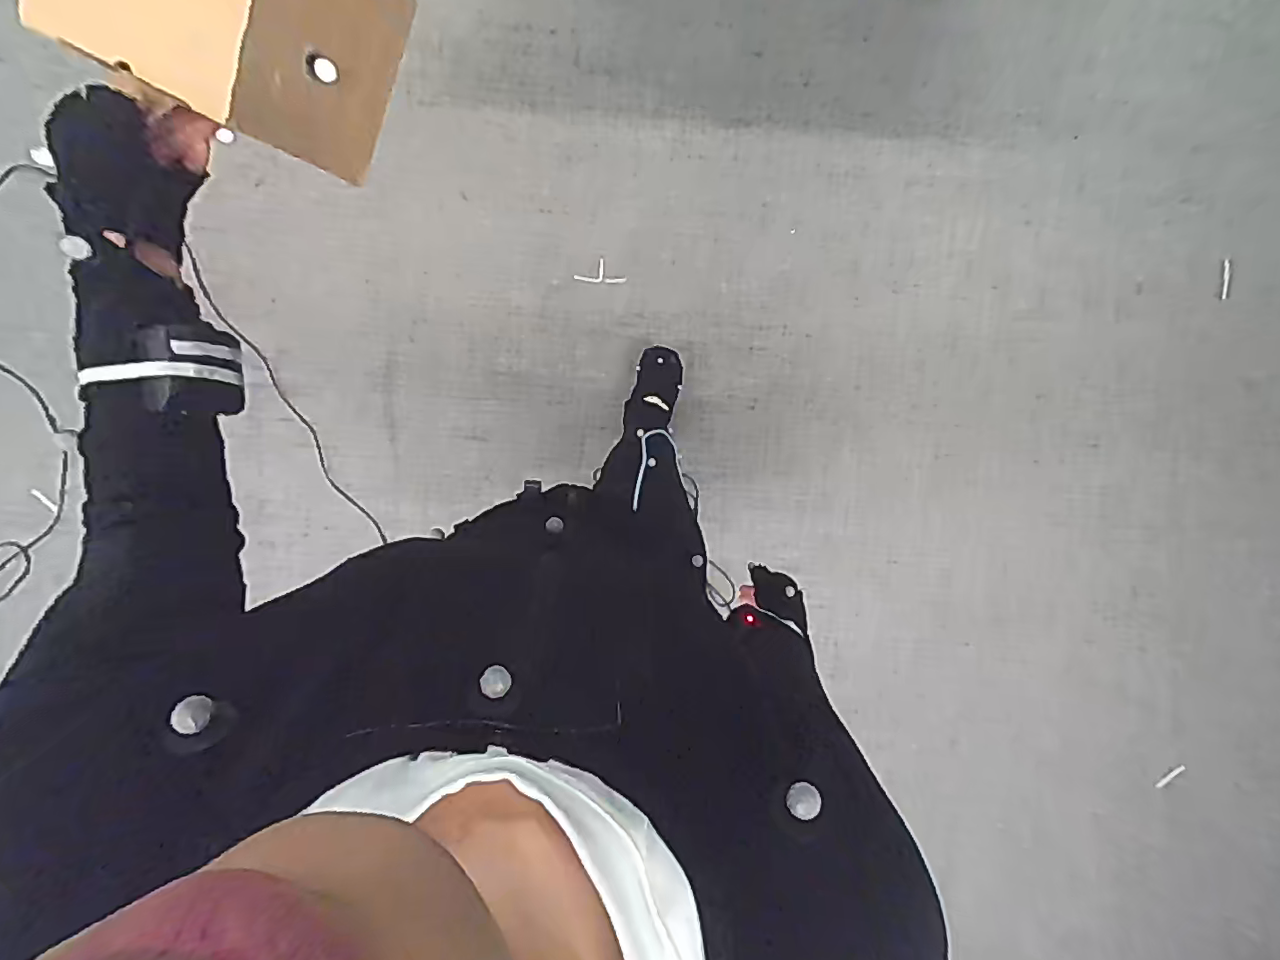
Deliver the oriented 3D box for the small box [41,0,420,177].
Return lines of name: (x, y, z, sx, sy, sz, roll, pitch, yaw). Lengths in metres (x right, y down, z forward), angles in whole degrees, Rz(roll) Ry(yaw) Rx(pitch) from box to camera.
small box: (-0.312, -0.386, 0.443, 0.168, 0.176, 0.179, 28, 107, -2)
